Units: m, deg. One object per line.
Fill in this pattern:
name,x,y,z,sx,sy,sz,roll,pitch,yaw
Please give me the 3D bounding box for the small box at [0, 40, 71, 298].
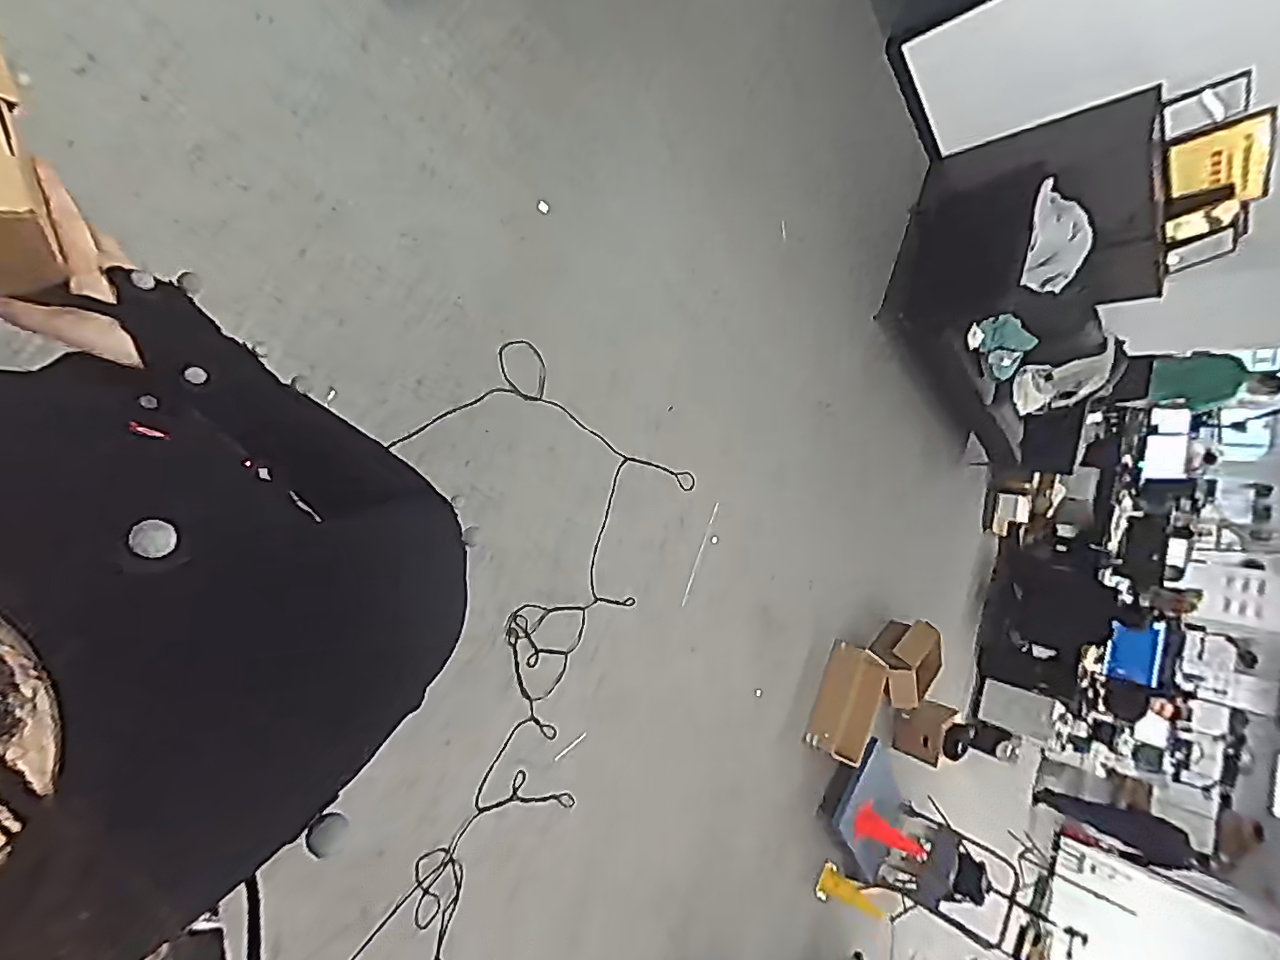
small box,-0.453,-0.202,0.290,0.179,0.176,0.168,-18,99,-39
